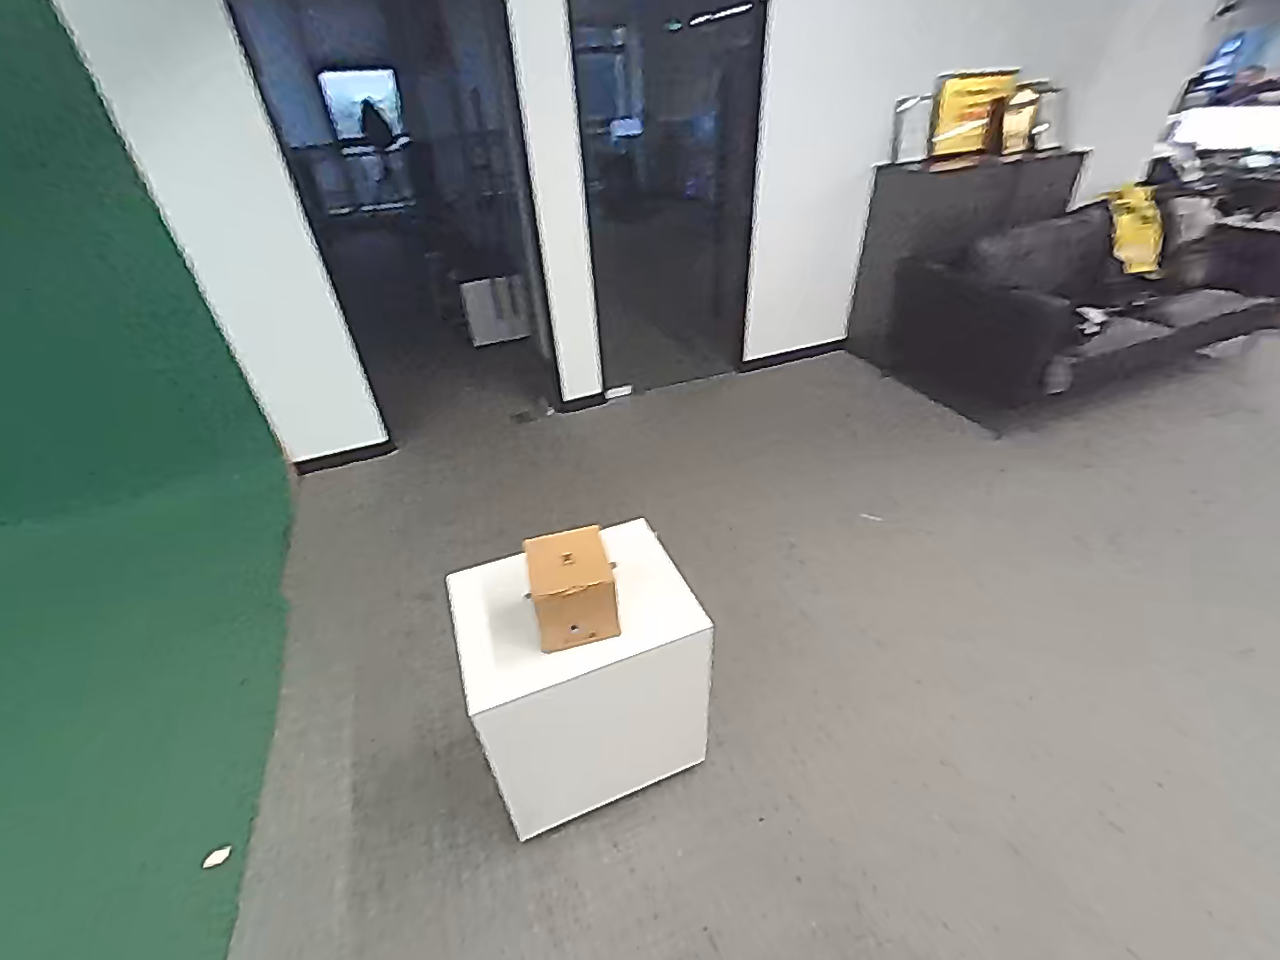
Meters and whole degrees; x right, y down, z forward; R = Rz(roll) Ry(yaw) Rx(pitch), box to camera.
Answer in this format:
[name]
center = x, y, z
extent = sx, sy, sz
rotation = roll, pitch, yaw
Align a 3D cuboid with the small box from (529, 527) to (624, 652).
[small box]
center = -0.134, 0.228, 1.138
extent = 0.168, 0.176, 0.179
rotation = -11, 36, -11
